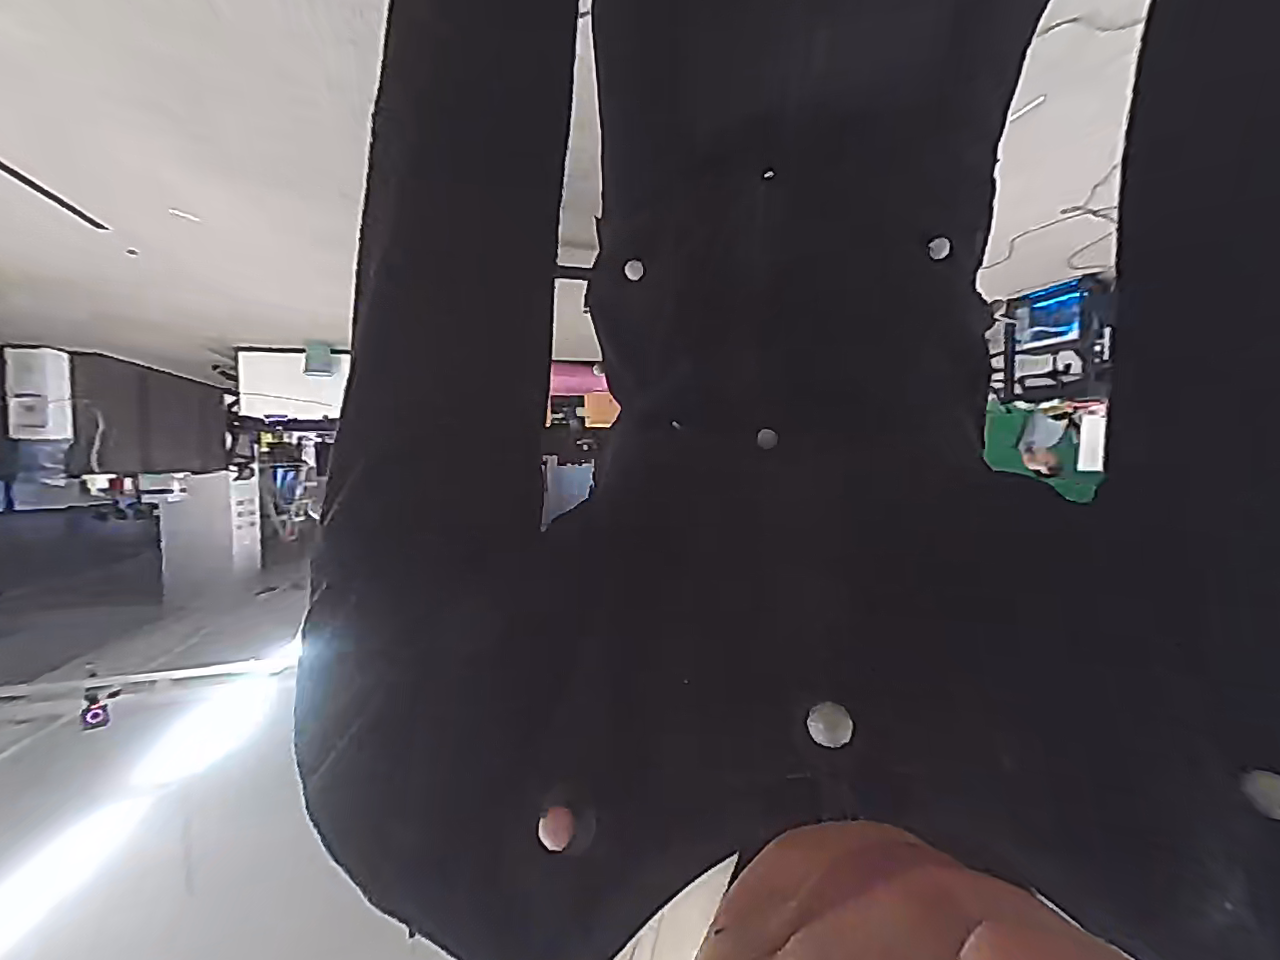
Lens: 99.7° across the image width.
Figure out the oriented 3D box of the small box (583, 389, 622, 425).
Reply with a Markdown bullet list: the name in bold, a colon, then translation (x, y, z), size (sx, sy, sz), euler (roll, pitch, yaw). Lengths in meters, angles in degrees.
- **small box**: translation (-0.195, -0.373, 2.782), size (0.168, 0.176, 0.179), euler (-1, -178, -19)
